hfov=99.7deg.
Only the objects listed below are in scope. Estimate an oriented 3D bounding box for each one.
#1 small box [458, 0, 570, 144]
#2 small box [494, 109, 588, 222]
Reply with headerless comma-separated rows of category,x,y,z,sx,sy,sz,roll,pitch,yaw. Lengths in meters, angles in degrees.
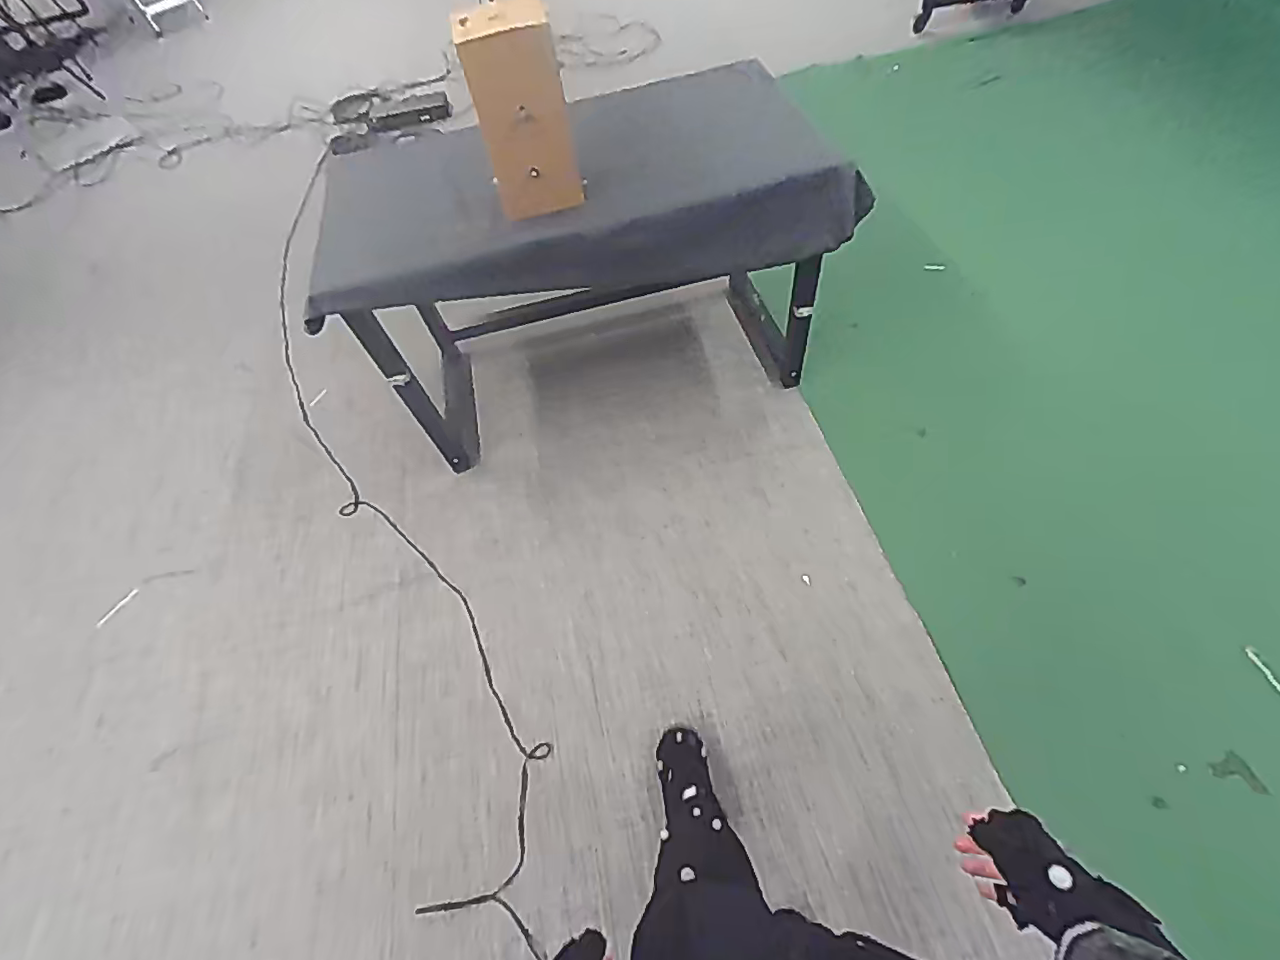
small box,-0.240,-0.795,1.058,0.179,0.176,0.168,-14,56,-2
small box,-0.219,-0.703,1.192,0.179,0.176,0.168,-16,57,-4
